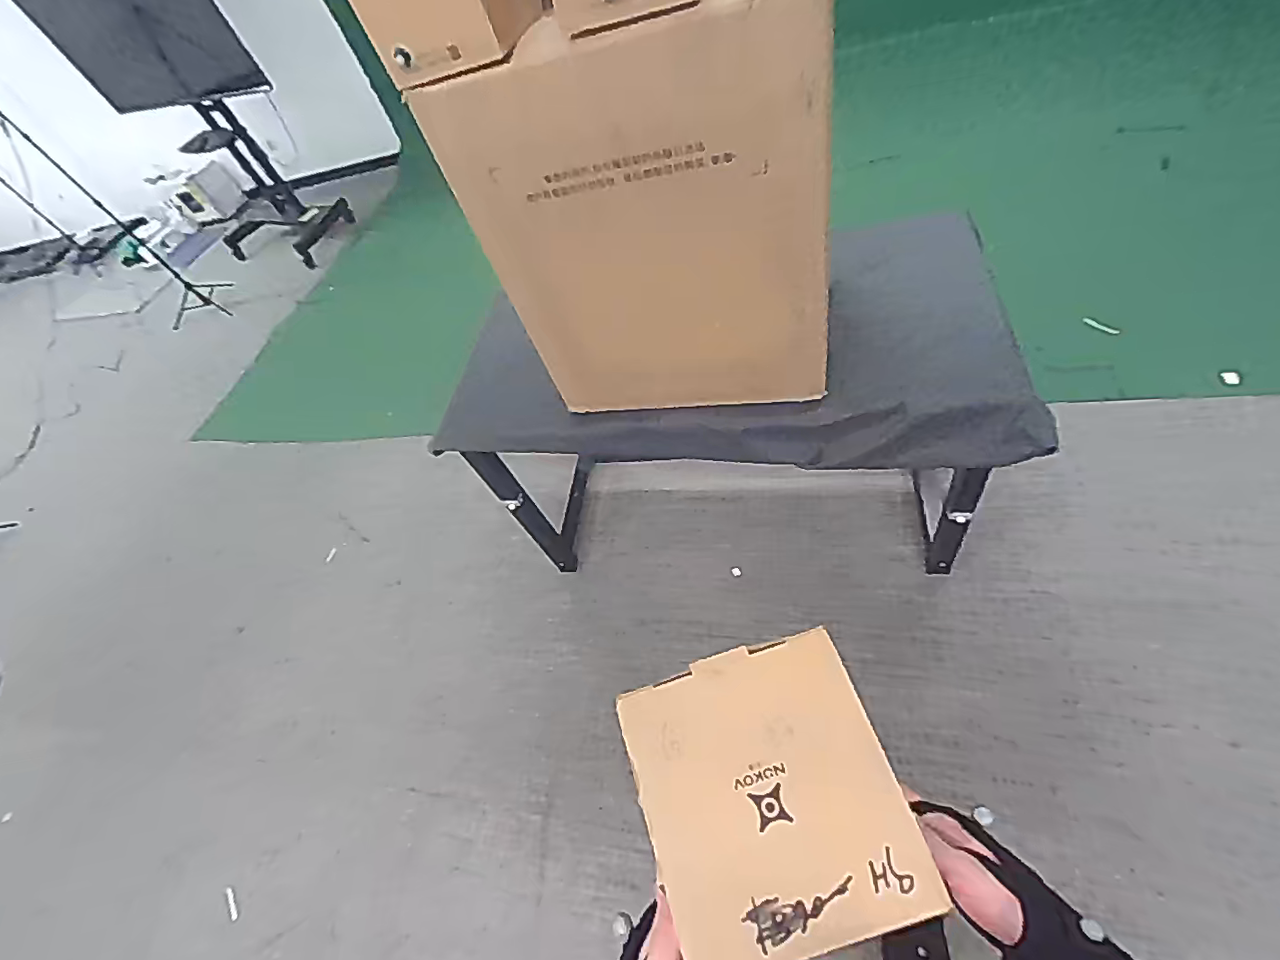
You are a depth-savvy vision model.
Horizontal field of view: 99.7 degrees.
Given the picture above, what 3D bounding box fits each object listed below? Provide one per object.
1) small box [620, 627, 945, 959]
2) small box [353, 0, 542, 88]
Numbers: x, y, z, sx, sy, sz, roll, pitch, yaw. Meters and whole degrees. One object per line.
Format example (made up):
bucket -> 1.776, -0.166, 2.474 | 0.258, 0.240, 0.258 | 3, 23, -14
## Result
small box -> 0.095, 0.240, 0.433 | 0.168, 0.176, 0.179 | -19, 63, 1
small box -> -0.243, -0.621, 0.672 | 0.168, 0.176, 0.179 | 0, 55, 20
